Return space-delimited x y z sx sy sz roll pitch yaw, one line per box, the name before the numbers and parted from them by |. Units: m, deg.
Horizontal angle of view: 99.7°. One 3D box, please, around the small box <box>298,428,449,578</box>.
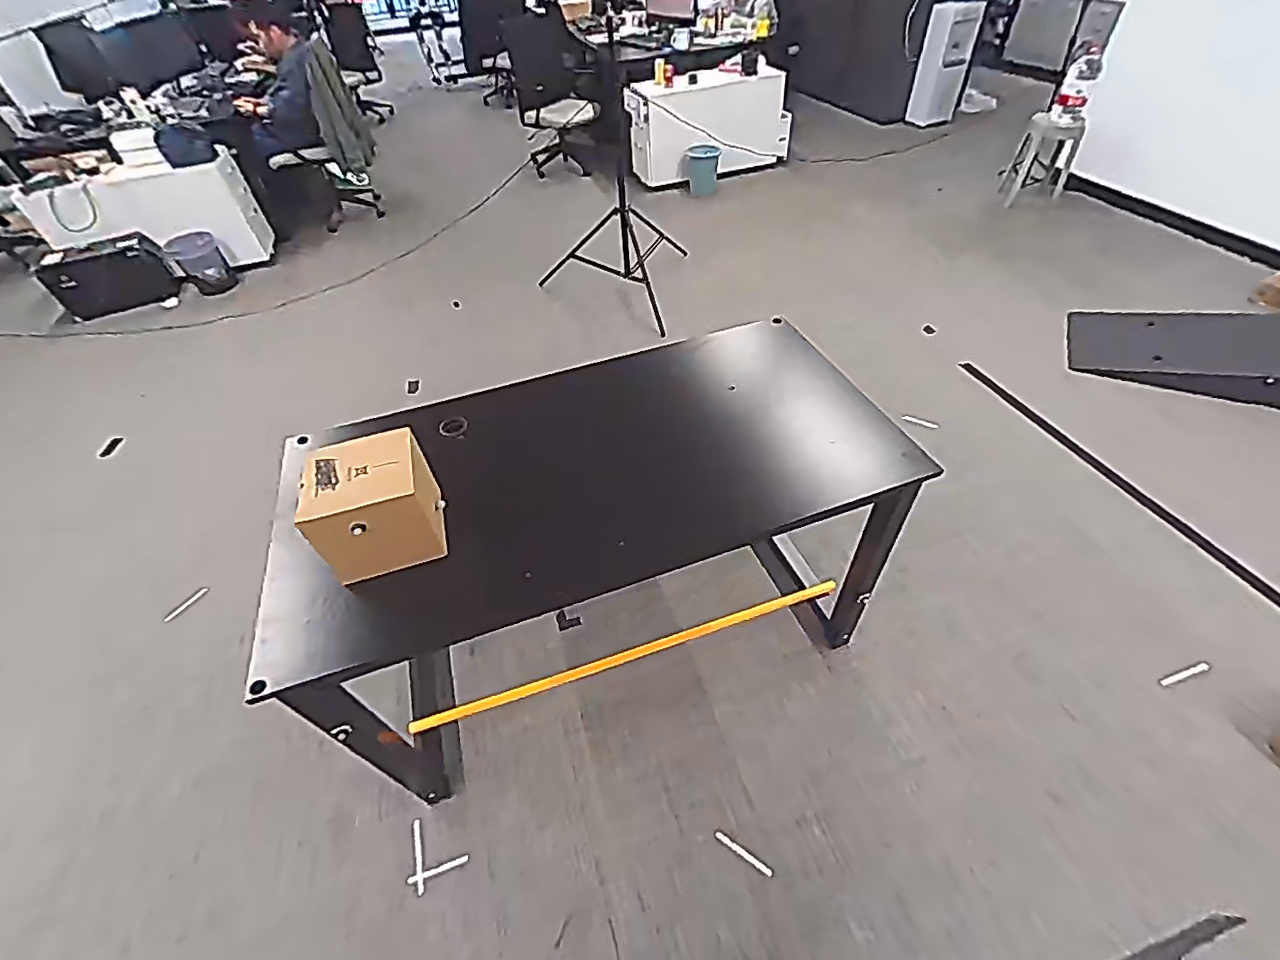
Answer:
small box | -0.445 0.043 0.926 0.179 0.176 0.168 -15 48 -11
